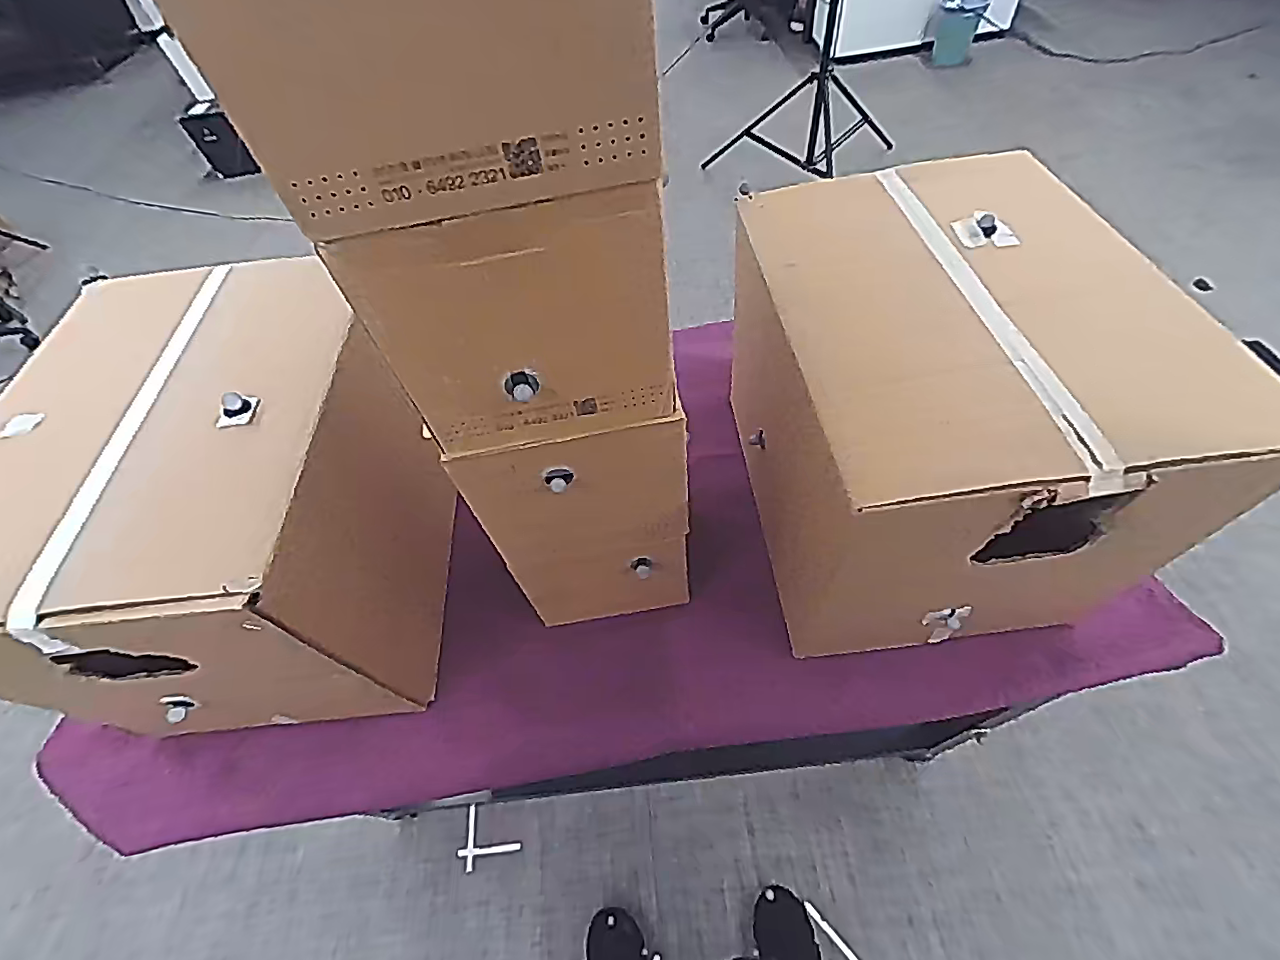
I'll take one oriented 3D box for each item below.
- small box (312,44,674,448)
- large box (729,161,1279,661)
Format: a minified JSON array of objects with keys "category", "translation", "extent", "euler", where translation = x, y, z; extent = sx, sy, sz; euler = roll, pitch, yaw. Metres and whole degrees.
[{"category":"small box","translation":[-0.075,-0.148,0.358],"extent":[0.168,0.176,0.179],"euler":[-11,55,-2]},{"category":"large box","translation":[0.285,-0.069,0.576],"extent":[0.320,0.320,0.408],"euler":[-8,53,1]}]
